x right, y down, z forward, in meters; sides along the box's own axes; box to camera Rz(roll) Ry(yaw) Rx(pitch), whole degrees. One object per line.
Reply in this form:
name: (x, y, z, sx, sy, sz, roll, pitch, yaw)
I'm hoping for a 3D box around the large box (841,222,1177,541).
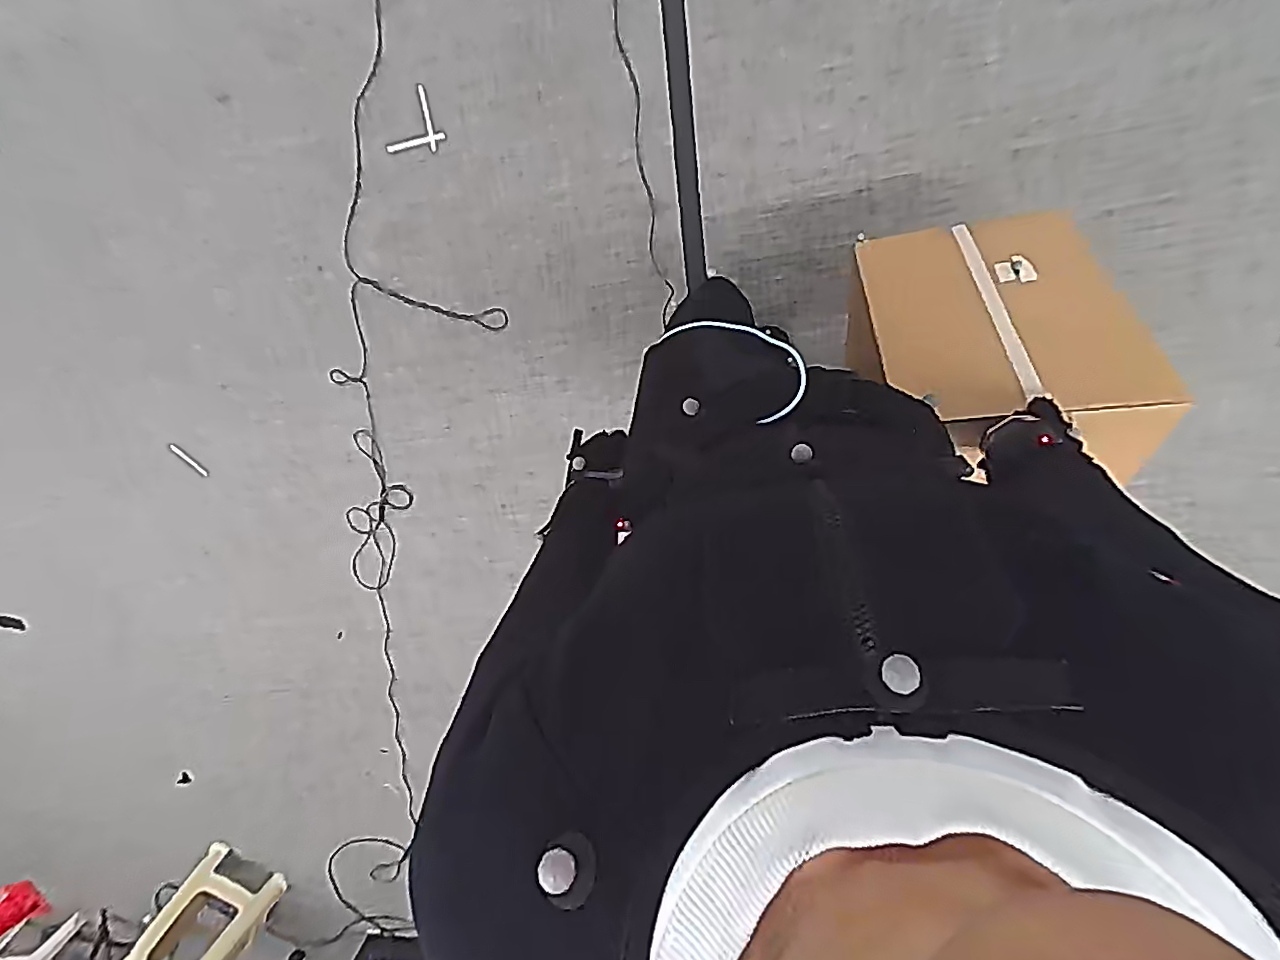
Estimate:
large box: (0.529, -0.152, 0.894, 0.320, 0.408, 0.320, -4, 143, 12)
